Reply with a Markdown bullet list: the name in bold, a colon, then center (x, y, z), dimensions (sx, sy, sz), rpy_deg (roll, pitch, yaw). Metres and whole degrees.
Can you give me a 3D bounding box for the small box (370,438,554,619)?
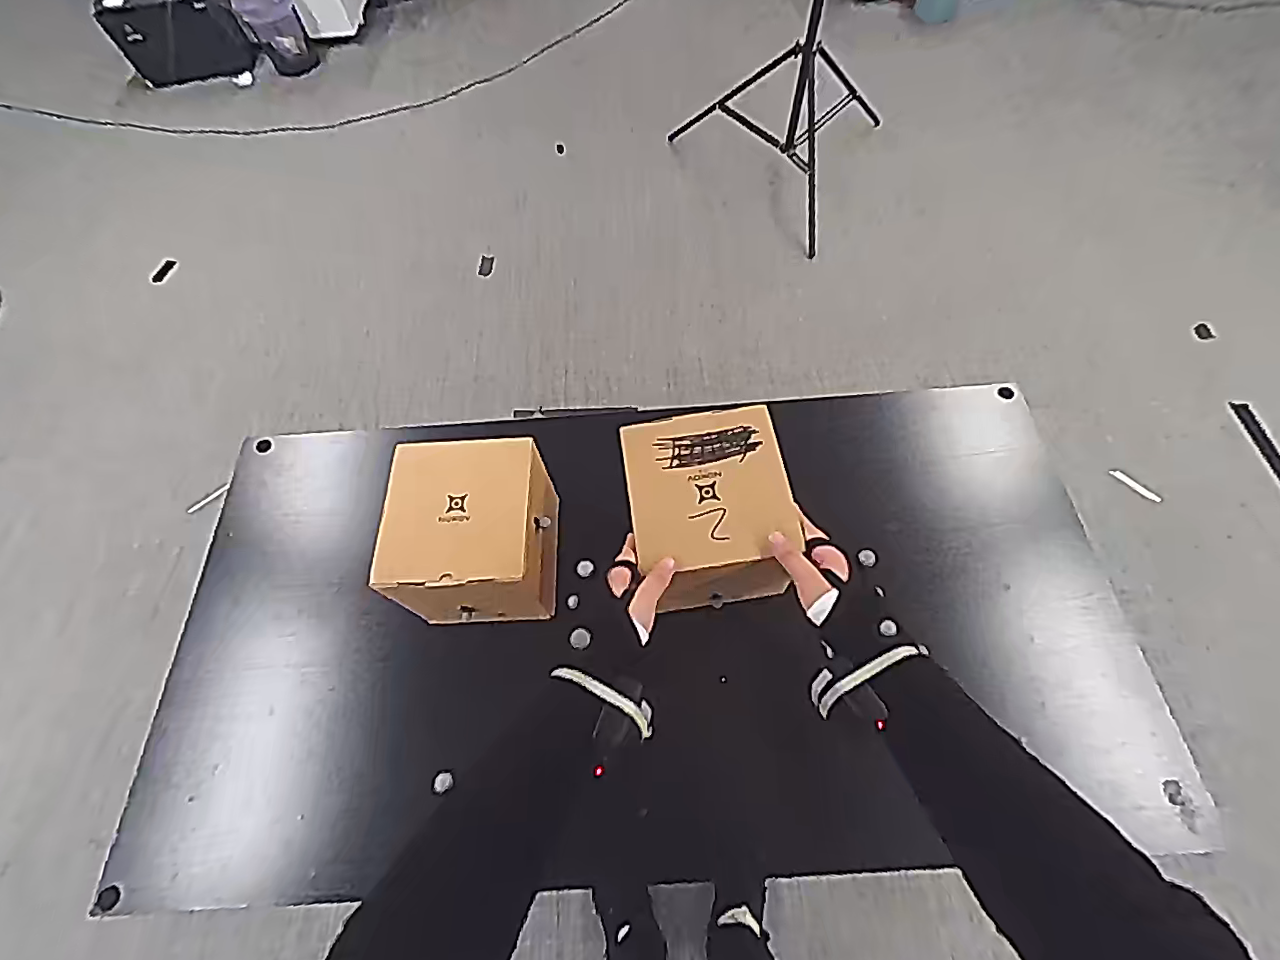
- **small box**: center (-0.205, 0.066, 0.679), dimensions (0.168, 0.176, 0.179), rpy_deg (-3, 63, 1)
